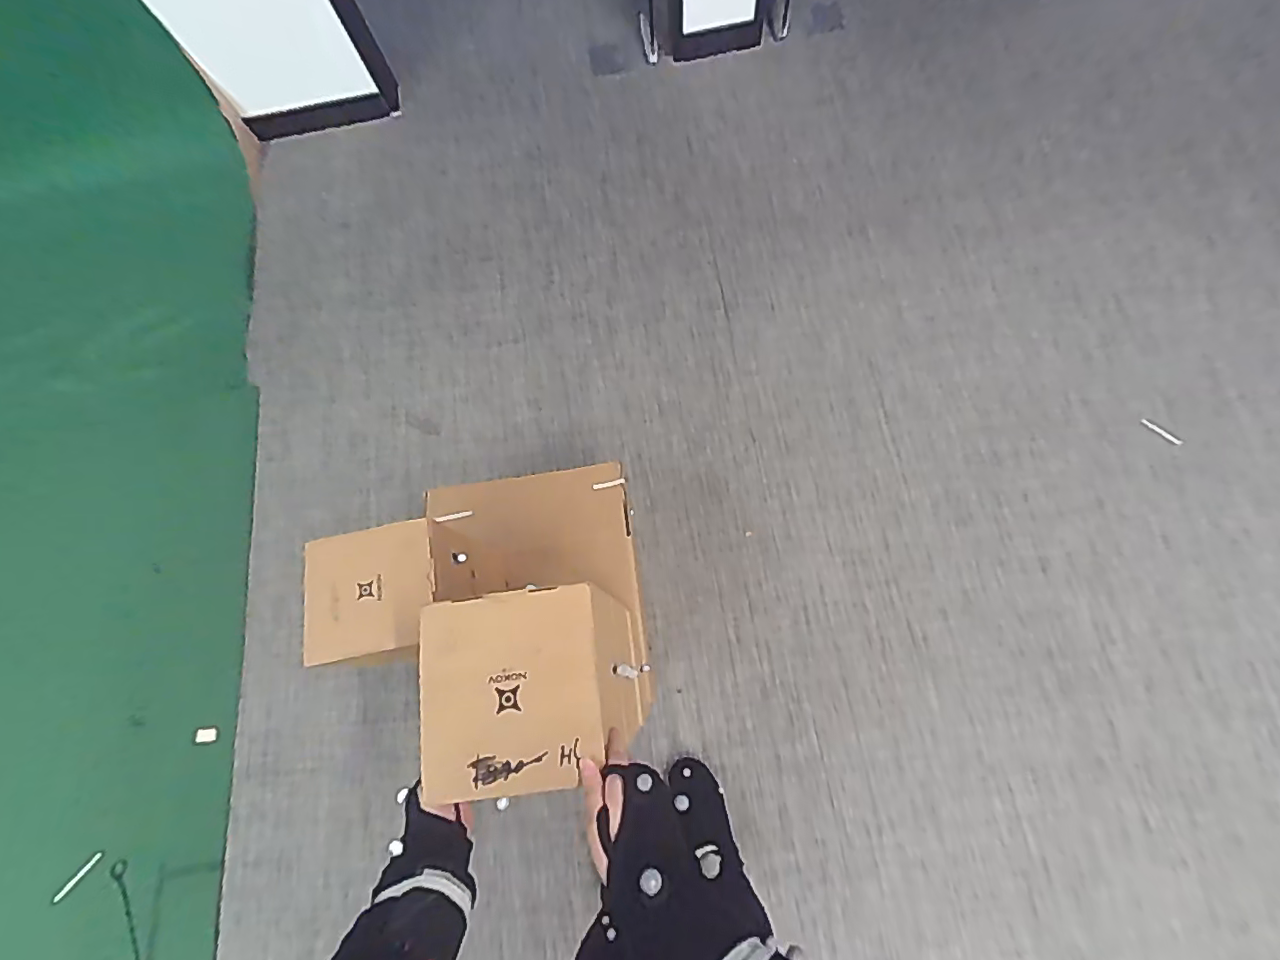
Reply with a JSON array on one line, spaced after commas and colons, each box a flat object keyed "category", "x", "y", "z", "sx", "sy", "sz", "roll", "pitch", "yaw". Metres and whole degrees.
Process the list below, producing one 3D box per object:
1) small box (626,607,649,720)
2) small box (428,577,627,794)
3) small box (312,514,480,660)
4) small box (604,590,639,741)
[{"category": "small box", "x": -0.079, "y": 0.304, "z": 0.885, "sx": 0.179, "sy": 0.176, "sz": 0.168, "roll": -8, "pitch": 72, "yaw": 2}, {"category": "small box", "x": -0.109, "y": 0.208, "z": 0.574, "sx": 0.168, "sy": 0.176, "sz": 0.179, "roll": -8, "pitch": 74, "yaw": 3}, {"category": "small box", "x": -0.338, "y": 0.160, "z": 0.783, "sx": 0.179, "sy": 0.176, "sz": 0.168, "roll": -12, "pitch": 71, "yaw": 3}, {"category": "small box", "x": -0.095, "y": 0.253, "z": 0.730, "sx": 0.168, "sy": 0.176, "sz": 0.179, "roll": -8, "pitch": 74, "yaw": 2}]
